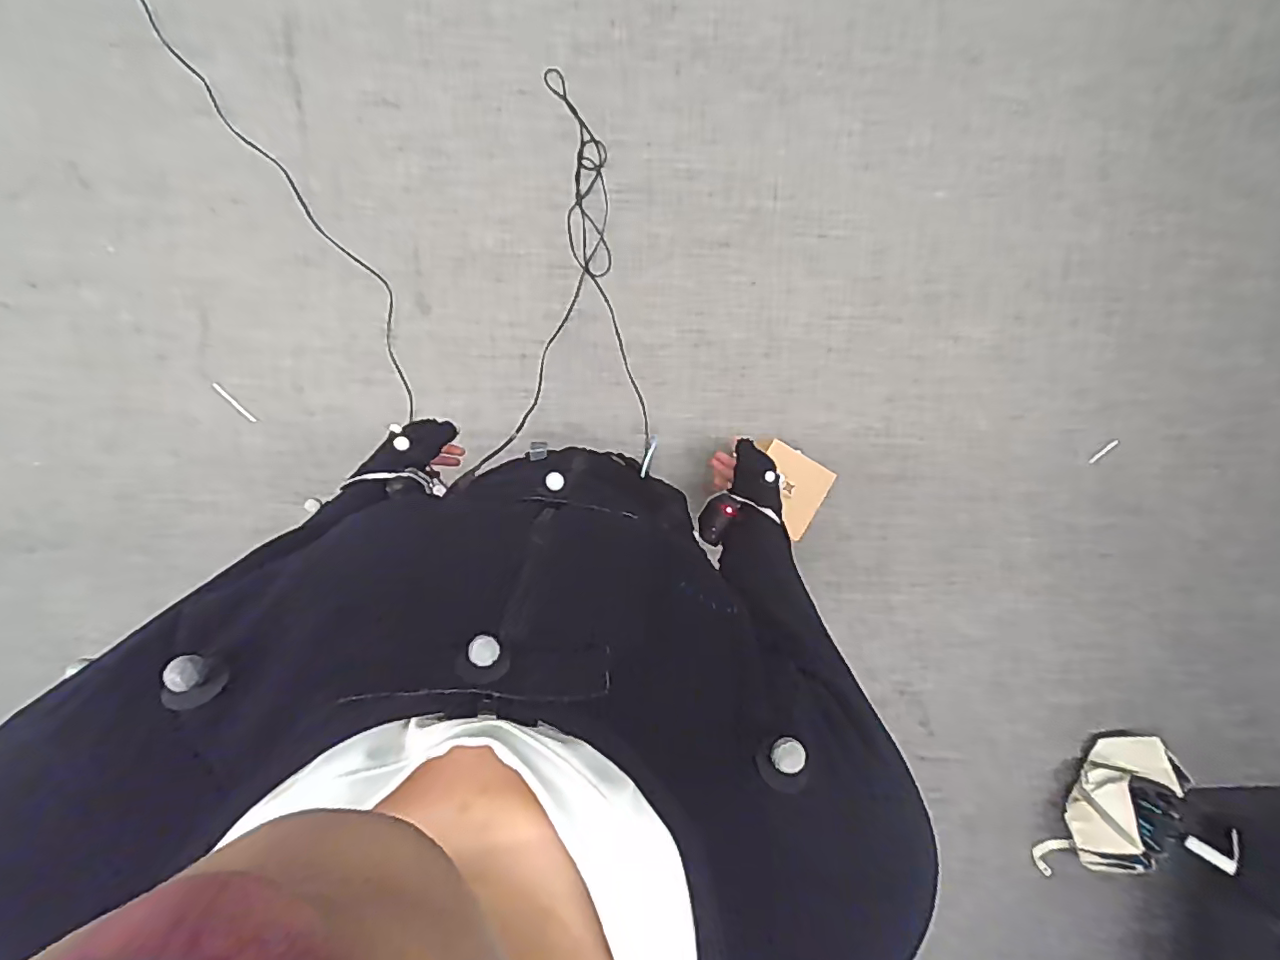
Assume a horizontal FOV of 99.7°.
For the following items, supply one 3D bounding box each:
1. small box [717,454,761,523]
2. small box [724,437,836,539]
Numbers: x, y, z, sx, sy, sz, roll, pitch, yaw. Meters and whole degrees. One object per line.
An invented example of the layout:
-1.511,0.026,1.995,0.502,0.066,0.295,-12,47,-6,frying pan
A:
0.301,0.017,1.413,0.179,0.176,0.168,-5,95,-4,small box
0.317,0.012,1.265,0.168,0.176,0.179,30,93,-5,small box
